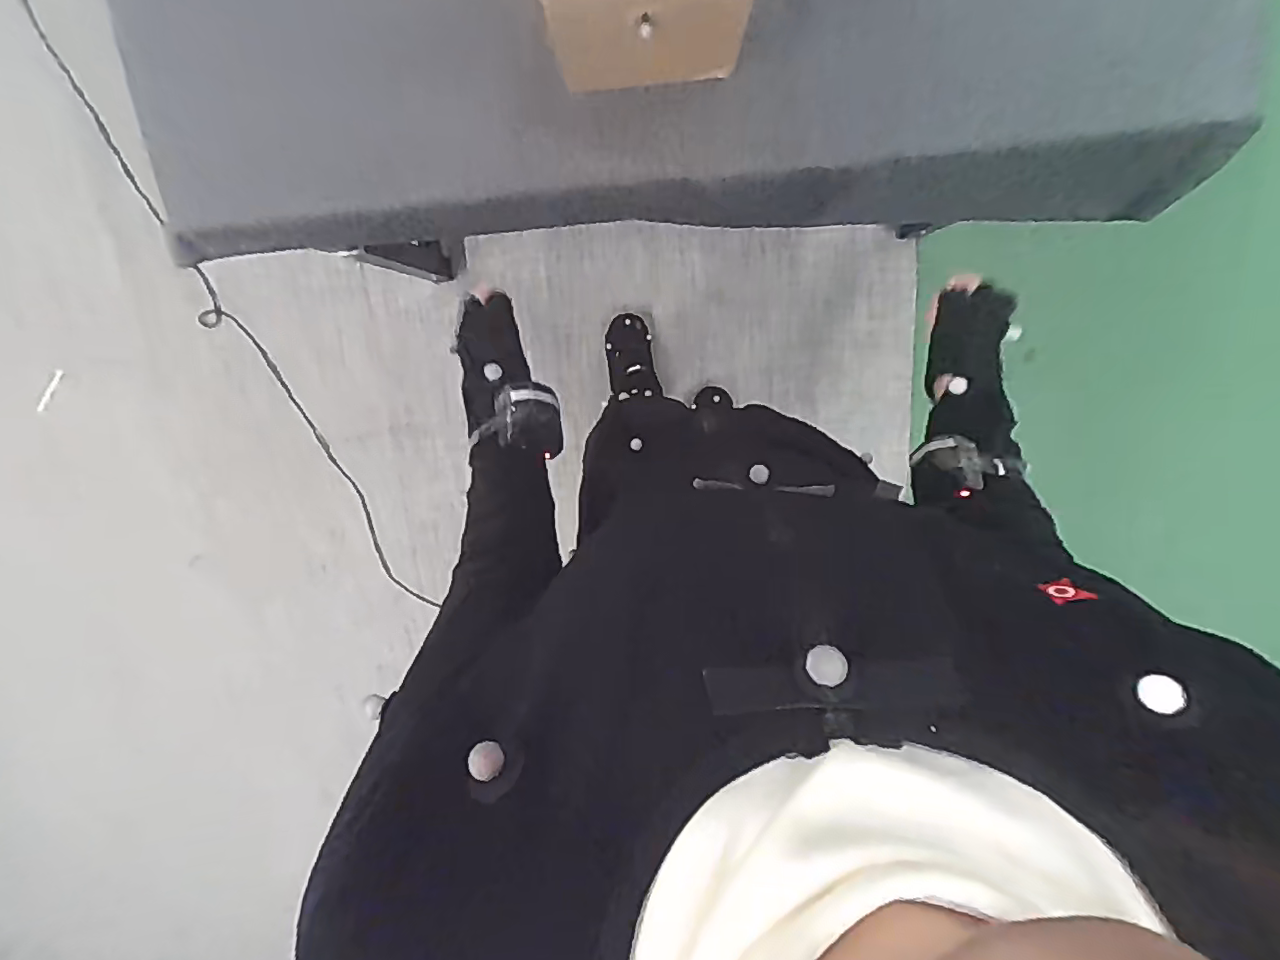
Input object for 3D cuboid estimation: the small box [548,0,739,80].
[{"bbox_3d":[0.000,-0.491,0.484,0.179,0.176,0.168,-4,105,1],"label":"small box"}]
